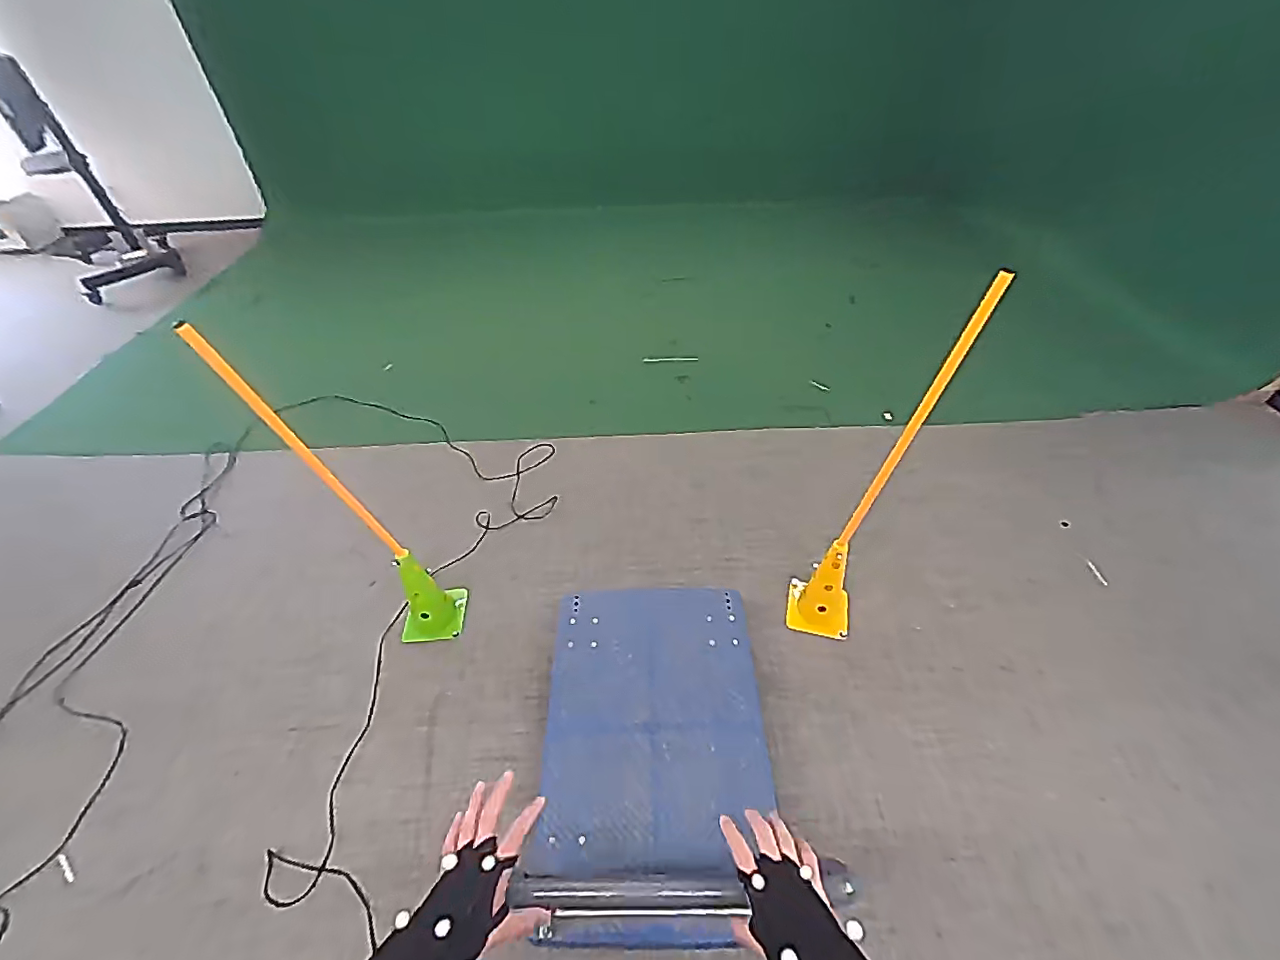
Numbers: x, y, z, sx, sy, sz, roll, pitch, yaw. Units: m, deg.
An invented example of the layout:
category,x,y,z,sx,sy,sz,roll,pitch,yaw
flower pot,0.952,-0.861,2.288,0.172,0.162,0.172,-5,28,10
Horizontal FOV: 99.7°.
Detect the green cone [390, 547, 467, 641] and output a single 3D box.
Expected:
category,x,y,z,sx,sy,sz,roll,pitch,yaw
green cone,-0.729,0.344,1.781,0.202,0.368,0.200,-6,44,-1
